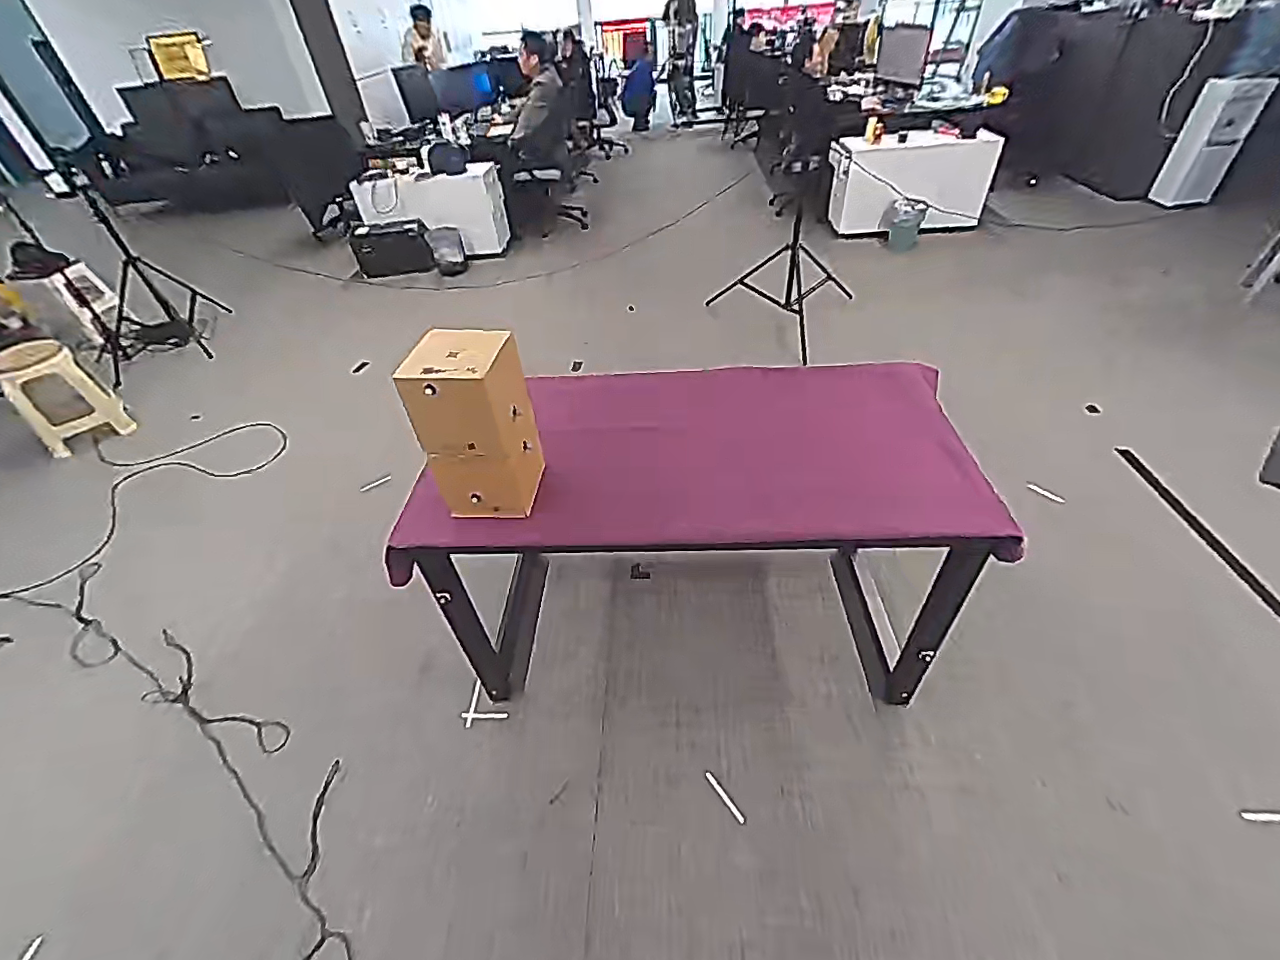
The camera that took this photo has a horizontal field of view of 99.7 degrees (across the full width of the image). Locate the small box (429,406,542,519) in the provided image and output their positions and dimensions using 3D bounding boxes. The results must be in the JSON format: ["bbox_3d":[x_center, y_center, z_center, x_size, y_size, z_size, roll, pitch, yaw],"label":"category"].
[{"bbox_3d":[-0.309,-0.039,1.129,0.168,0.176,0.179,0,41,6],"label":"small box"}]

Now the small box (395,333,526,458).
[{"bbox_3d":[-0.323,-0.162,1.022,0.168,0.176,0.179,2,41,7],"label":"small box"}]
